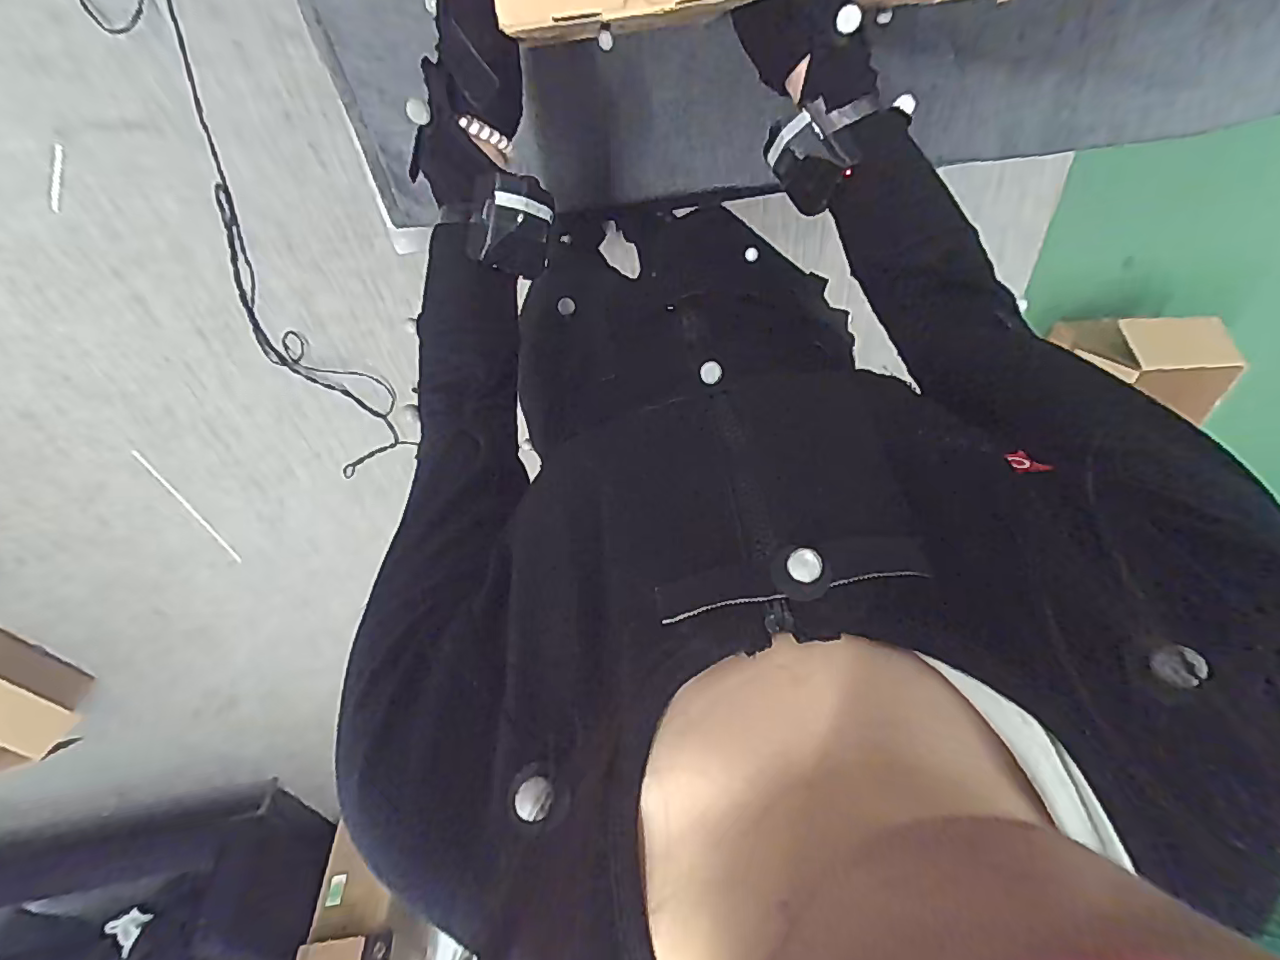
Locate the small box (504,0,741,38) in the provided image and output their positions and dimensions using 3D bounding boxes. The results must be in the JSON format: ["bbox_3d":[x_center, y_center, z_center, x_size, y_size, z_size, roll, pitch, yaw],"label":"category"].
[{"bbox_3d":[-0.018,-0.397,0.331,0.168,0.176,0.179,-10,128,-2],"label":"small box"}]
